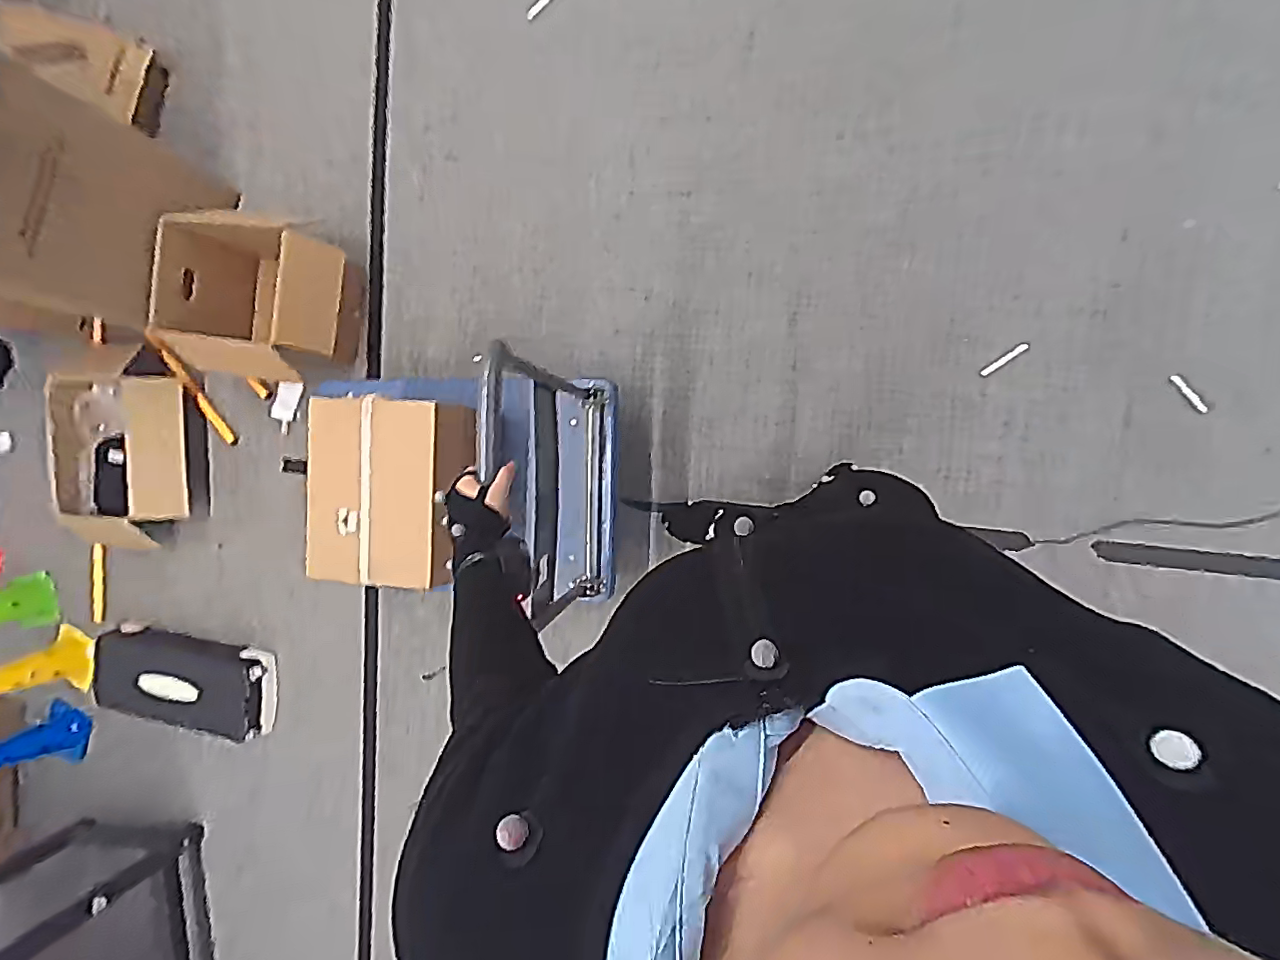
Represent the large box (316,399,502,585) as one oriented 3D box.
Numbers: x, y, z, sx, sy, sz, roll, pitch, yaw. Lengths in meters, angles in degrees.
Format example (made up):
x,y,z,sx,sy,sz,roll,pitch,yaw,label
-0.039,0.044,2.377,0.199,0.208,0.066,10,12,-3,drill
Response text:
x,y,z,sx,sy,sz,roll,pitch,yaw,label
-0.547,0.013,1.332,0.320,0.320,0.408,3,94,13,large box
